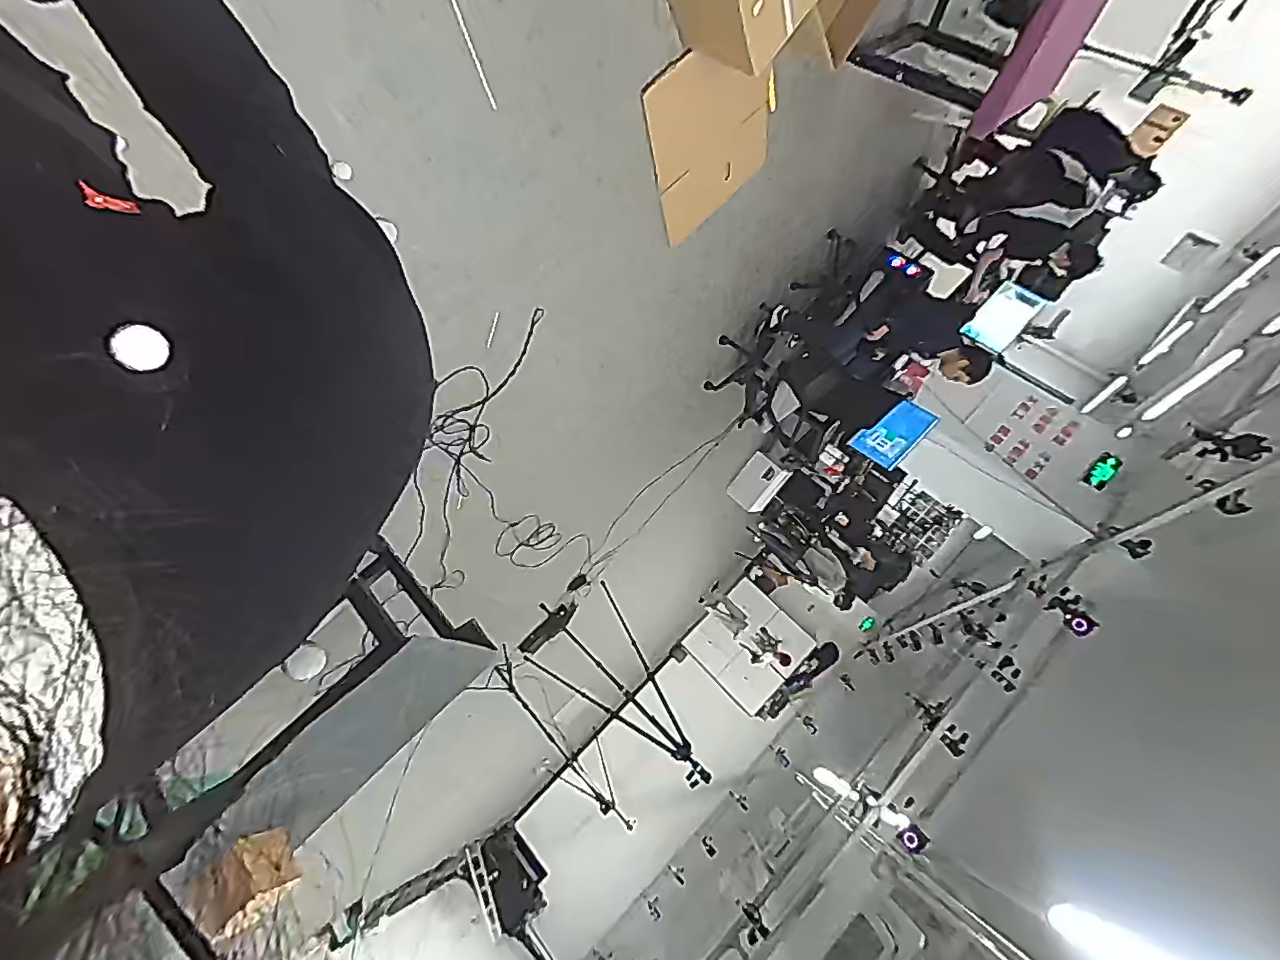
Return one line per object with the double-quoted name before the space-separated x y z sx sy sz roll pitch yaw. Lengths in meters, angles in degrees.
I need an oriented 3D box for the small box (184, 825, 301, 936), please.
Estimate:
"small box" -1.120 1.115 1.526 0.168 0.176 0.179 -44 158 -9
